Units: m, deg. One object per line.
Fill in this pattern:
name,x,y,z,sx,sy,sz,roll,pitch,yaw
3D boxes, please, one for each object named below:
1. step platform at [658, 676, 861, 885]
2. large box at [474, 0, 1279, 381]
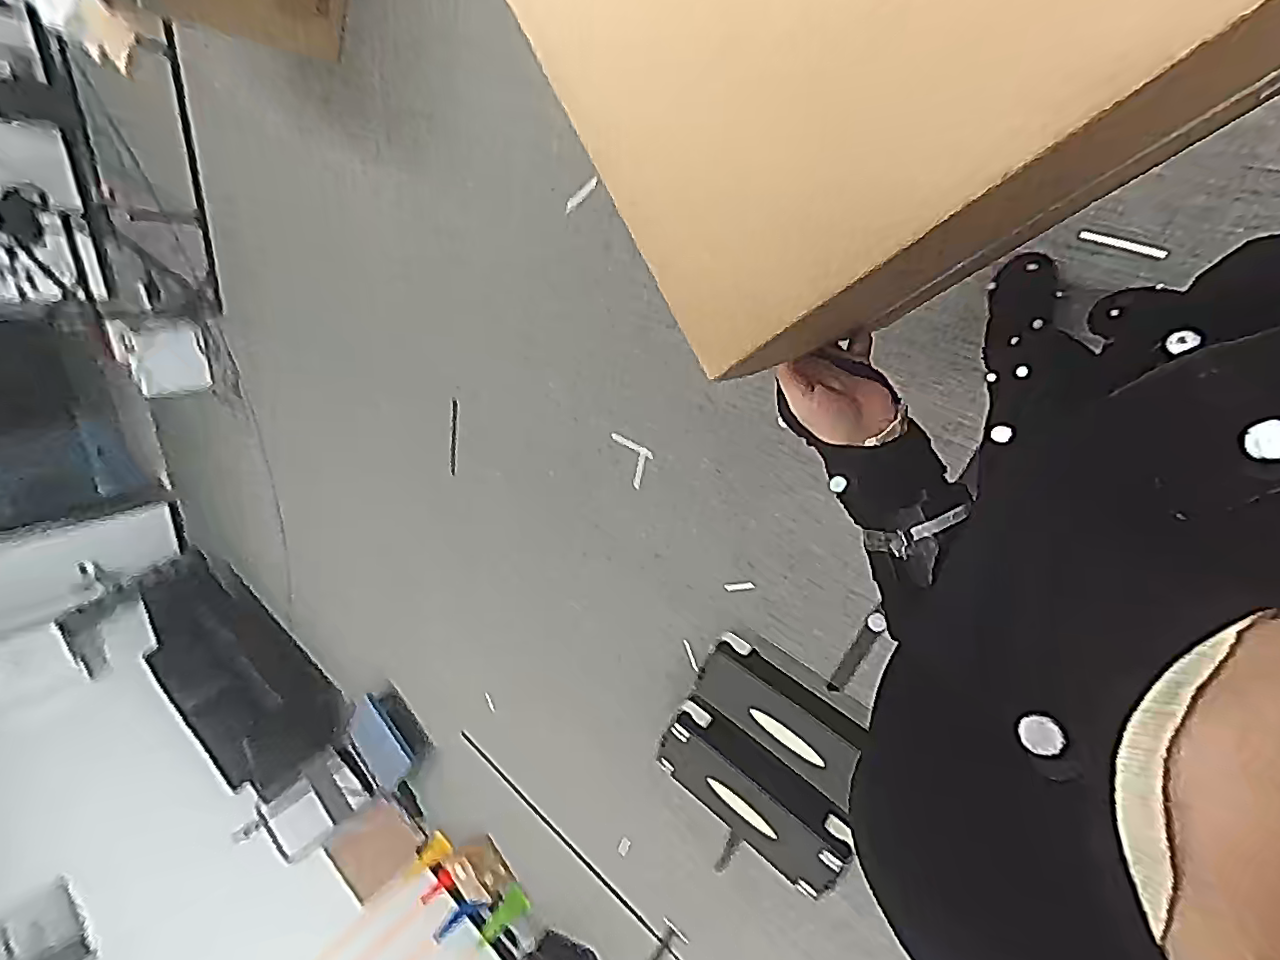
step platform,0.385,1.022,1.863,0.684,0.204,0.286,37,127,23
large box,0.167,-0.309,0.291,0.408,0.320,0.320,-34,85,47
